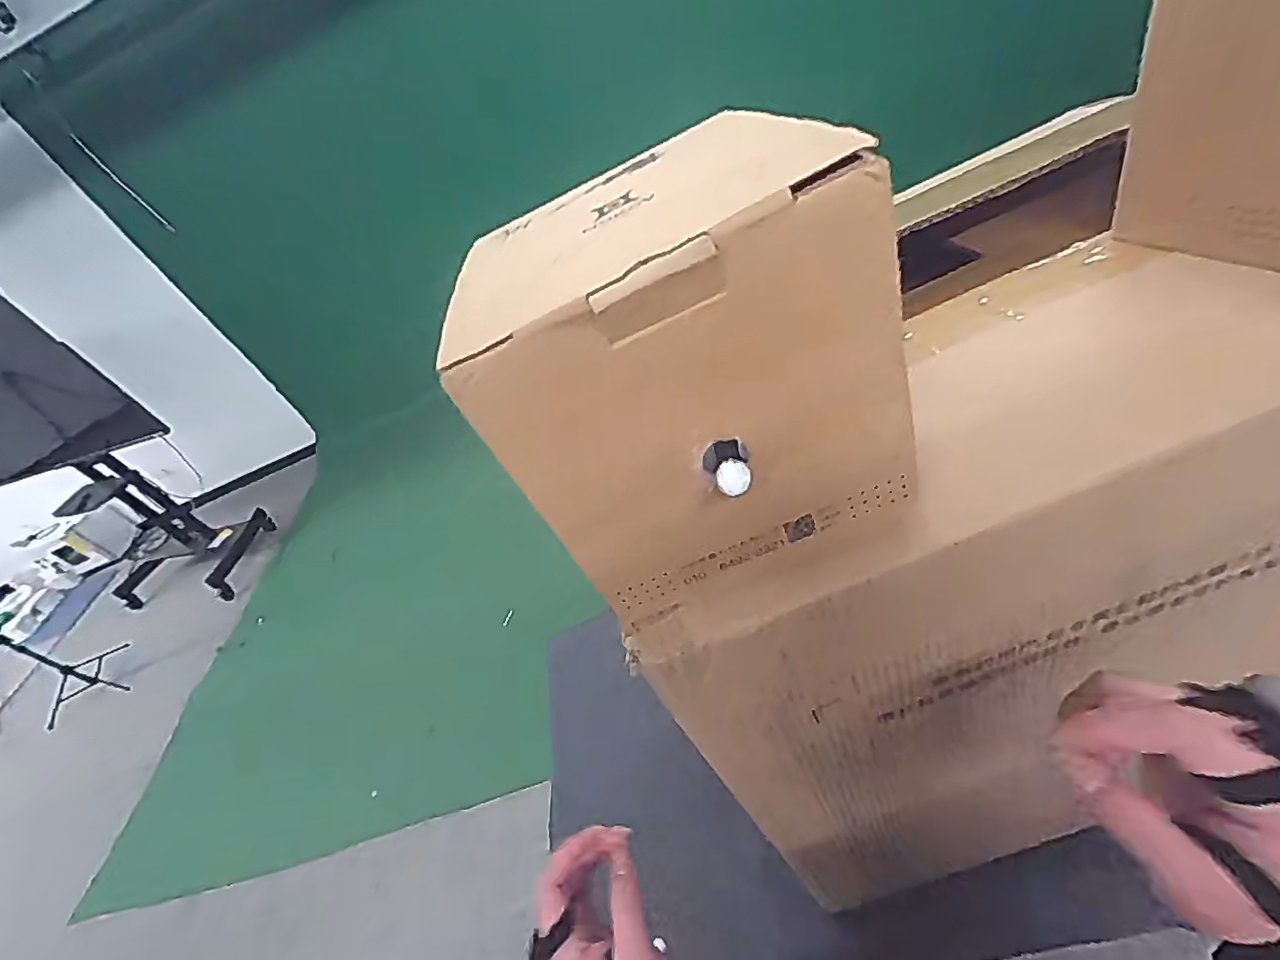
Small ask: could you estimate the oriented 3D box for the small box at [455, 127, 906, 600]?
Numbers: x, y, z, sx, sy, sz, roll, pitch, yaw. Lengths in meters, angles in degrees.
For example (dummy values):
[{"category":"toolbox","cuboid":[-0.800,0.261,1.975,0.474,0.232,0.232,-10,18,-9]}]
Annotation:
[{"category":"small box","cuboid":[0.024,-0.057,0.298,0.168,0.176,0.179,-23,38,6]}]
